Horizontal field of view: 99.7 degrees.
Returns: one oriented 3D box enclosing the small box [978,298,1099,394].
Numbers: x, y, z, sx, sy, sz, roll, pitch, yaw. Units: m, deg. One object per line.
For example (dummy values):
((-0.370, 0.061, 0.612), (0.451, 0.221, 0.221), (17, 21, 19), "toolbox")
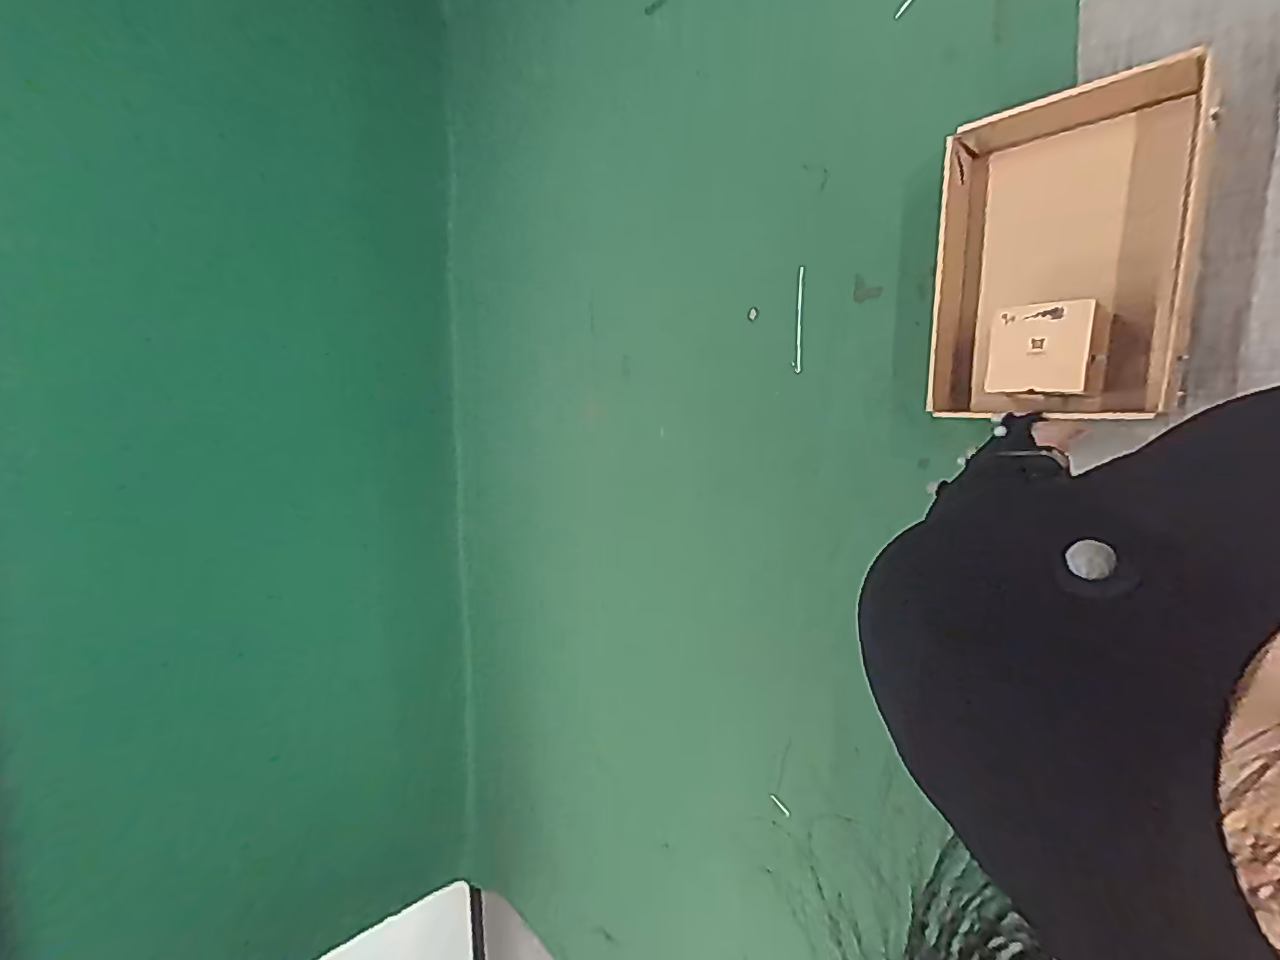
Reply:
((0.821, -0.266, 1.112), (0.168, 0.176, 0.179), (9, 101, 45), "small box")
